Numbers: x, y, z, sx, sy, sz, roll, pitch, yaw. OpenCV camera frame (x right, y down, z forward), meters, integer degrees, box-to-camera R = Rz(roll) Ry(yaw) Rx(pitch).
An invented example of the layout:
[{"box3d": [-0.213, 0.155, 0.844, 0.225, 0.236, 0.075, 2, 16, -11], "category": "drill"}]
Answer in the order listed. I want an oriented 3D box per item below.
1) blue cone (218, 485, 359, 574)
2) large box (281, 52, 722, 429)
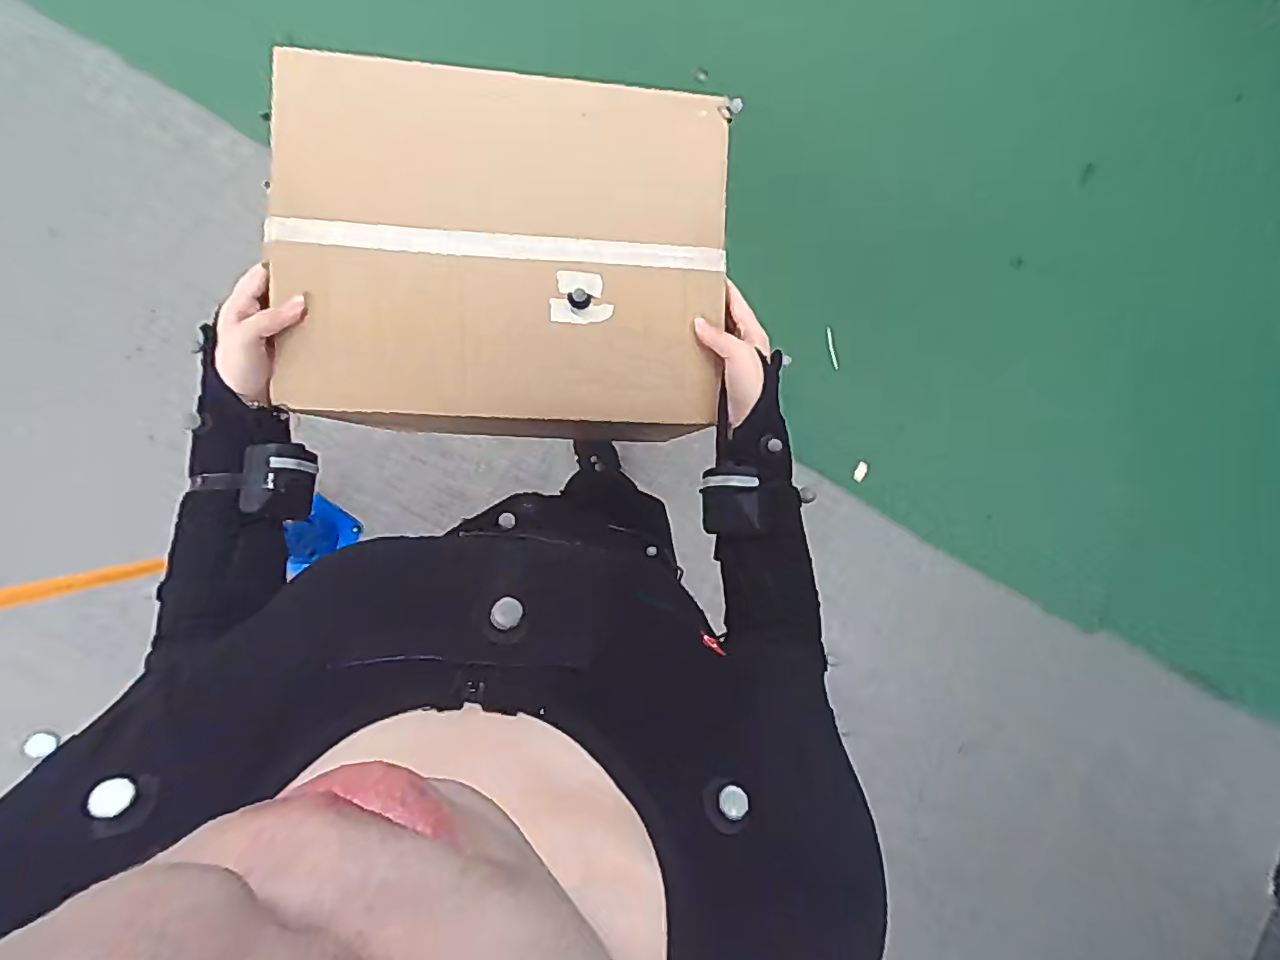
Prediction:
[{"box3d": [-0.837, 0.125, 1.240, 0.193, 0.380, 0.192, 38, 84, -5], "category": "blue cone"}, {"box3d": [-0.139, -0.227, 0.648, 0.408, 0.320, 0.320, 0, 92, -8], "category": "large box"}]
